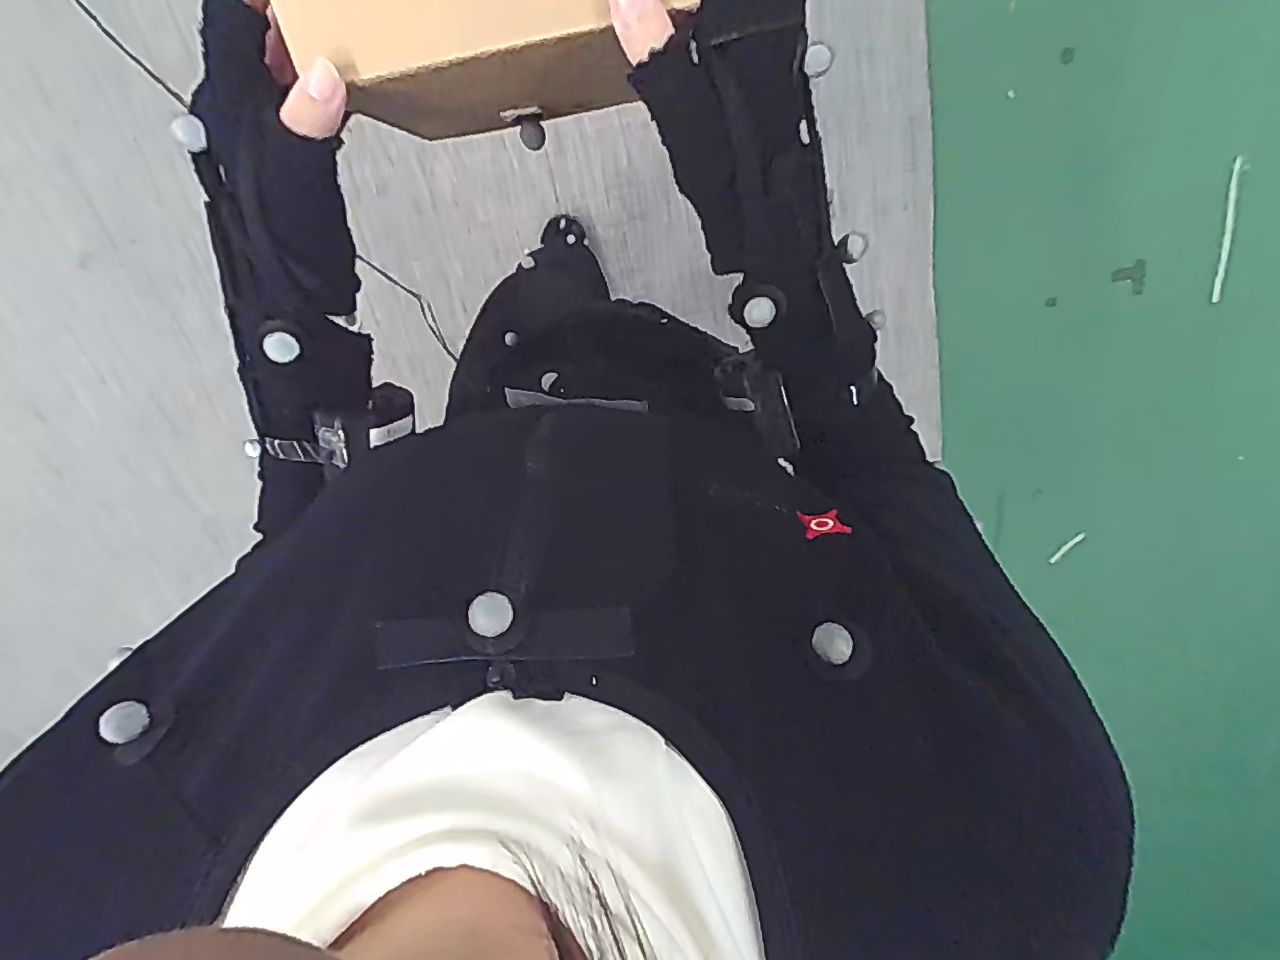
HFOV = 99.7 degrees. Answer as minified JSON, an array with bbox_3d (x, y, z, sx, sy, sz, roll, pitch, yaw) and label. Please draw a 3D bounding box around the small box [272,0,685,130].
[{"bbox_3d":[-0.076,-0.292,0.254,0.168,0.176,0.179,-9,115,4],"label":"small box"}]
